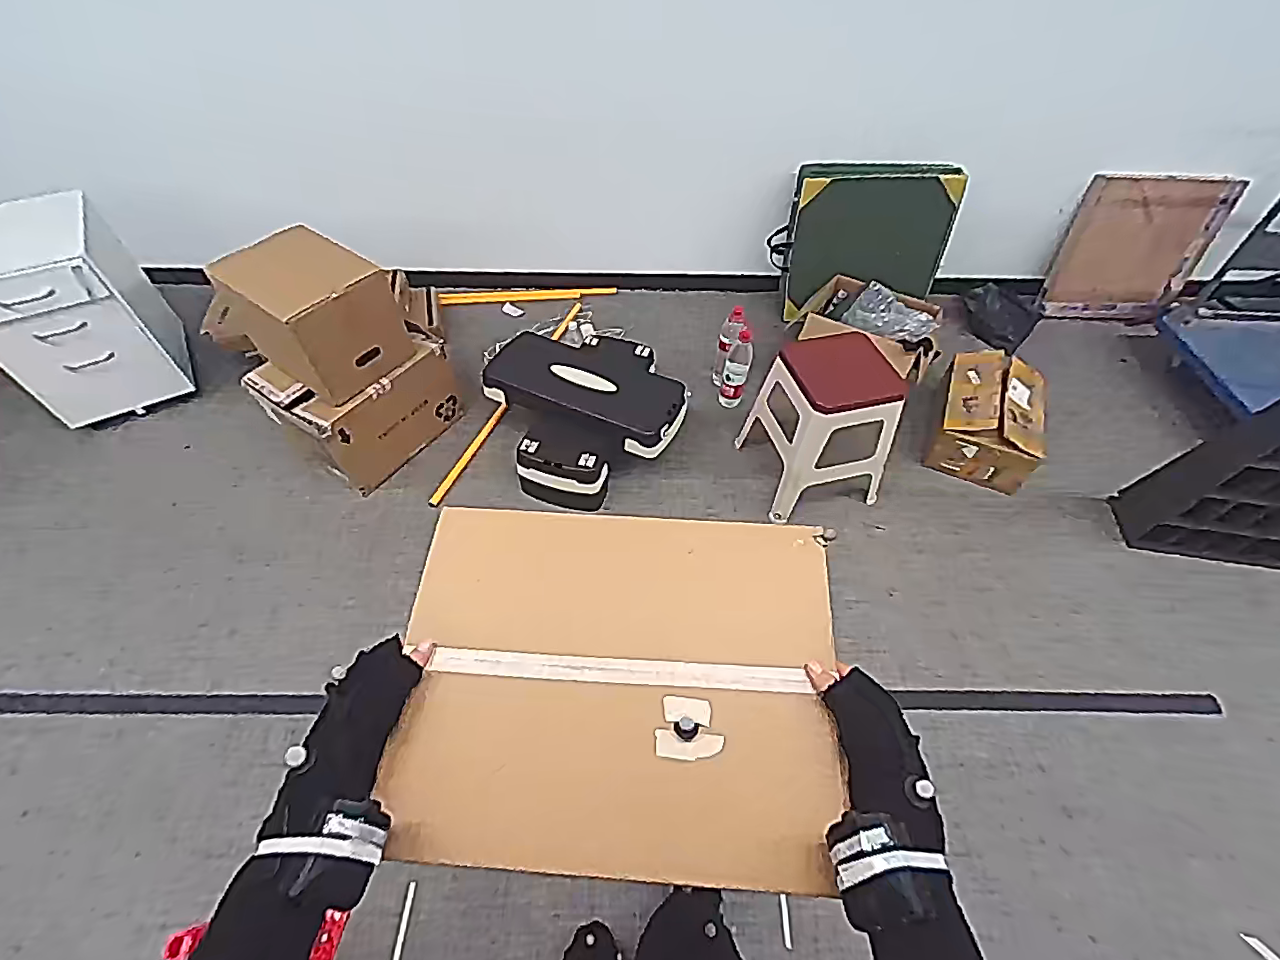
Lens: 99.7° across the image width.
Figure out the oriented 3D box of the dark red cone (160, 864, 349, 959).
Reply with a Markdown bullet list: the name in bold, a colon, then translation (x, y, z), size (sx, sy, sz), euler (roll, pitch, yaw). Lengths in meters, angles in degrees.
- **dark red cone**: translation (-0.708, 0.803, 0.960), size (0.201, 0.394, 0.202), euler (6, 52, 3)

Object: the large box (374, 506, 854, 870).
- **large box**: translation (-0.016, 0.243, 0.641), size (0.408, 0.320, 0.320), euler (3, 62, 2)
